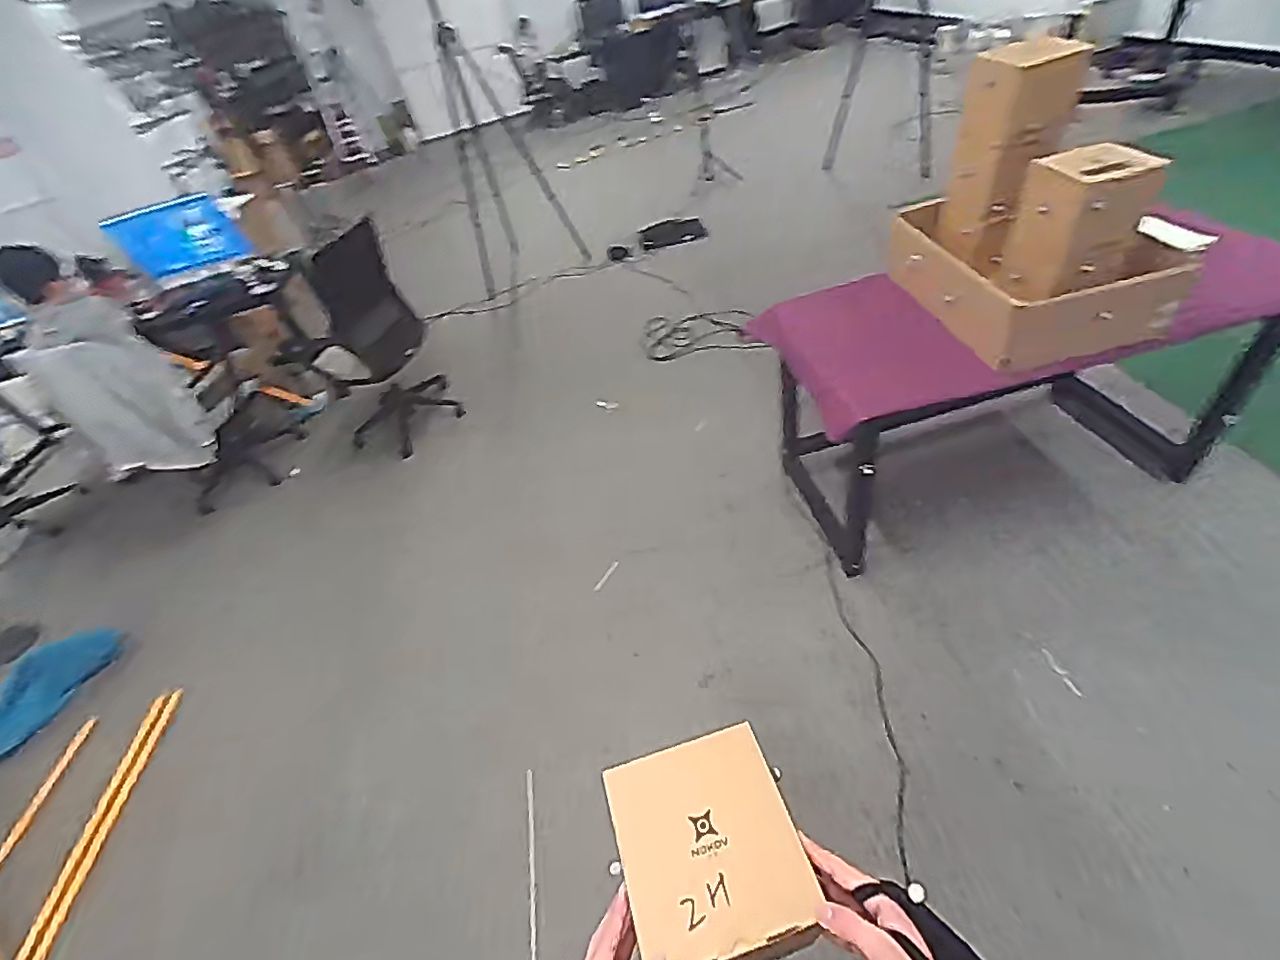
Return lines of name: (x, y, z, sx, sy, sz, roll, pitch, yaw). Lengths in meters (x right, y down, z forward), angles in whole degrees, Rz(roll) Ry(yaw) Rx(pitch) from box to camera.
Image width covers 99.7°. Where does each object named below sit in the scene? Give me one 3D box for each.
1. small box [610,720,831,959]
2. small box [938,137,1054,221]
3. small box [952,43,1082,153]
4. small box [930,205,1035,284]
small box: (0.074, 0.389, 0.565, 0.168, 0.176, 0.179, -15, 43, -6)
small box: (0.907, -0.792, 1.397, 0.168, 0.176, 0.179, -16, 45, 0)
small box: (0.876, -0.902, 1.281, 0.168, 0.176, 0.179, -16, 46, 1)
small box: (0.941, -0.676, 1.508, 0.168, 0.176, 0.179, -16, 46, 1)
